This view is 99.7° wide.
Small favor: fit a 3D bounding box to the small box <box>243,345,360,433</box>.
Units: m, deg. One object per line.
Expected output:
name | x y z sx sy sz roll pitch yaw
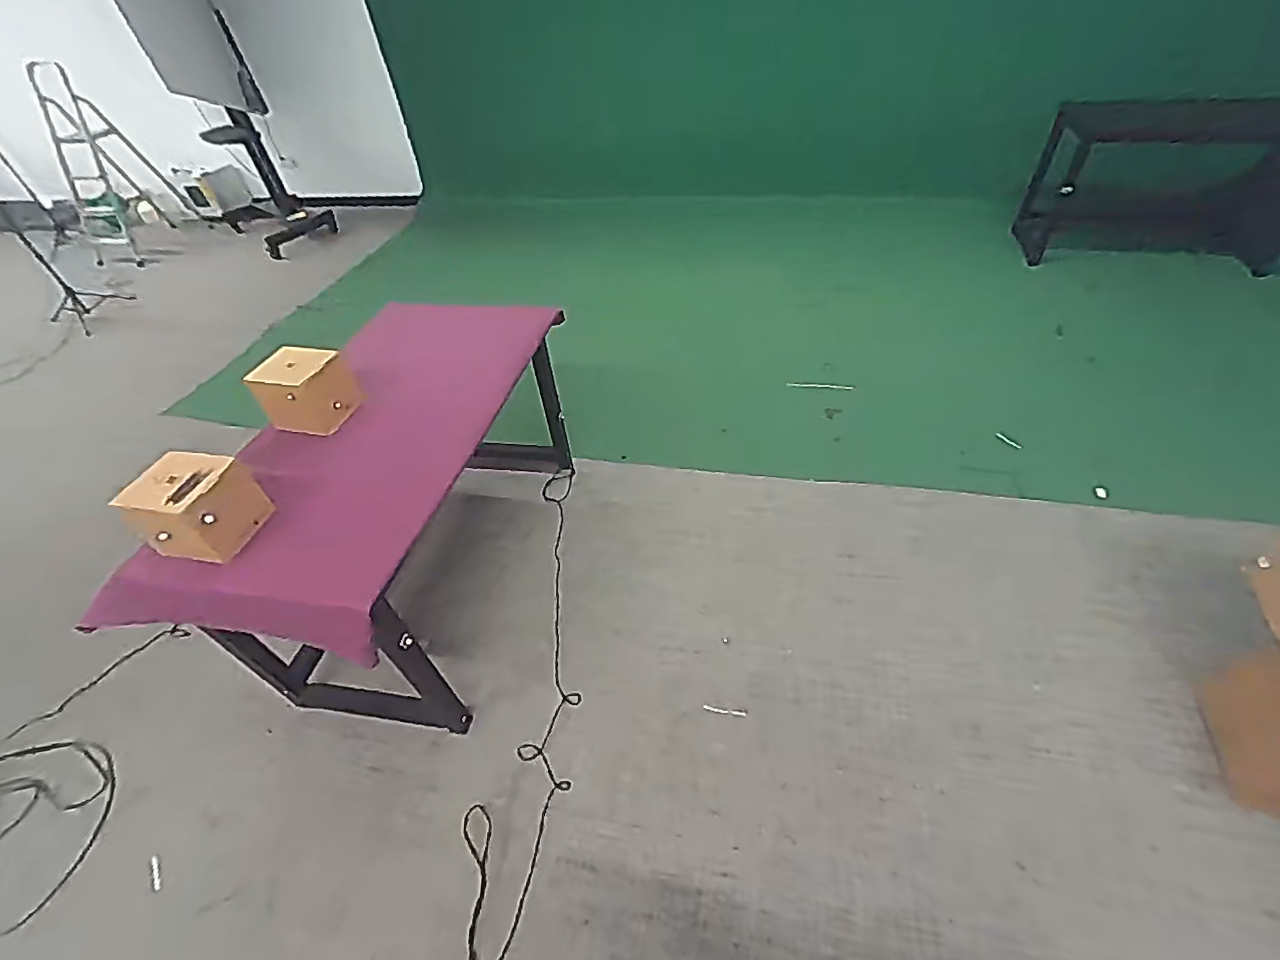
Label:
small box | -0.906 -0.246 1.464 0.179 0.176 0.168 8 46 10
